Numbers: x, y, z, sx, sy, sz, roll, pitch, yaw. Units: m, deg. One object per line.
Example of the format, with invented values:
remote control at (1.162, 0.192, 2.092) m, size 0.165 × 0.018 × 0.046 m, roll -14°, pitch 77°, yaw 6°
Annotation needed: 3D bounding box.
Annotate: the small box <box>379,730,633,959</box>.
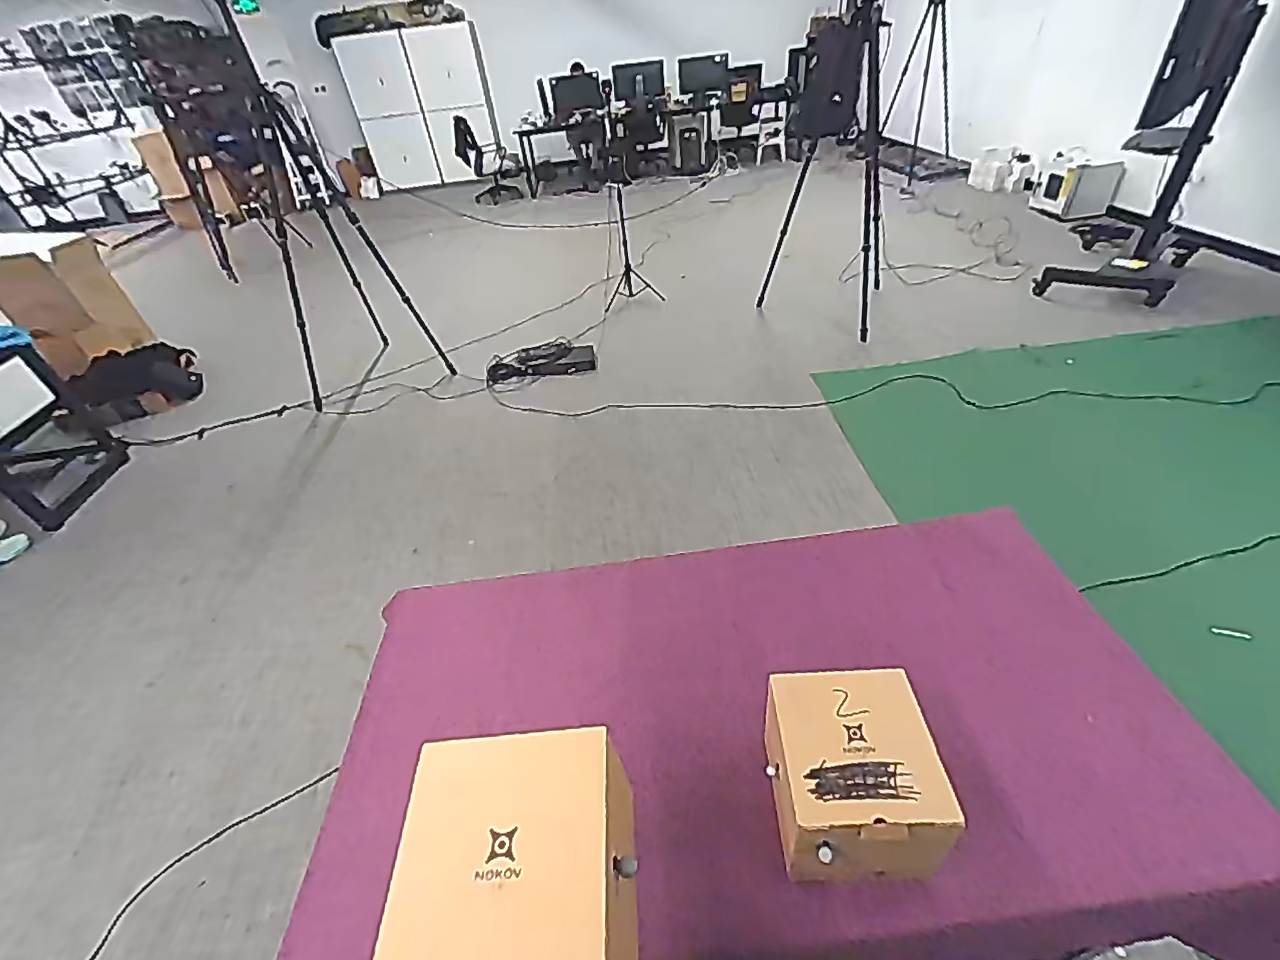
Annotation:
small box at (-0.098, 0.348, 0.481) m, size 0.168 × 0.176 × 0.179 m, roll -7°, pitch 45°, yaw 3°
